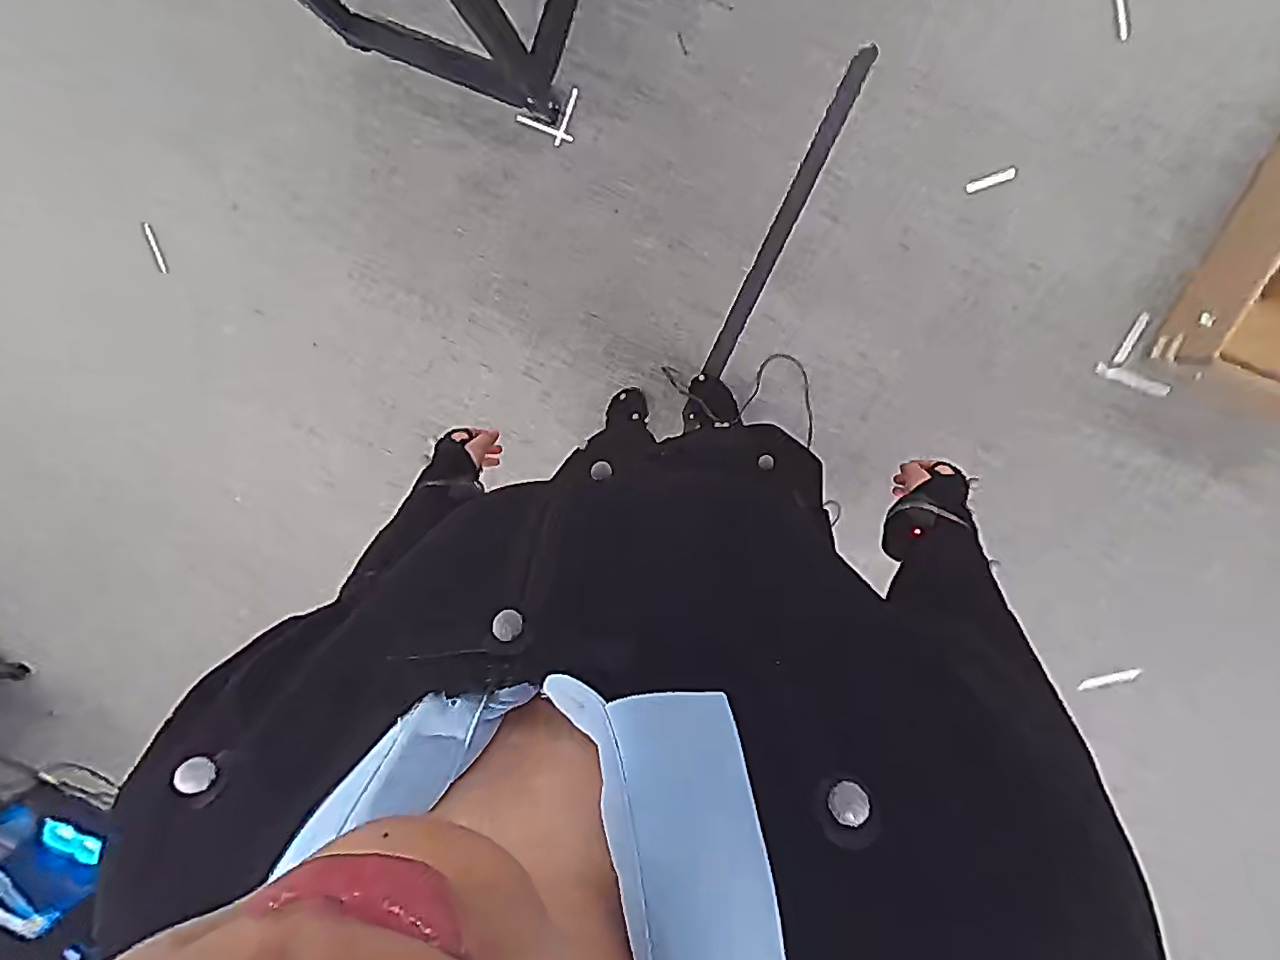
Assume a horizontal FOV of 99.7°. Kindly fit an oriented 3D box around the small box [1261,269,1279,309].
[{"bbox_3d":[1.454,-0.420,1.091,0.179,0.176,0.168,23,104,3],"label":"small box"}]
